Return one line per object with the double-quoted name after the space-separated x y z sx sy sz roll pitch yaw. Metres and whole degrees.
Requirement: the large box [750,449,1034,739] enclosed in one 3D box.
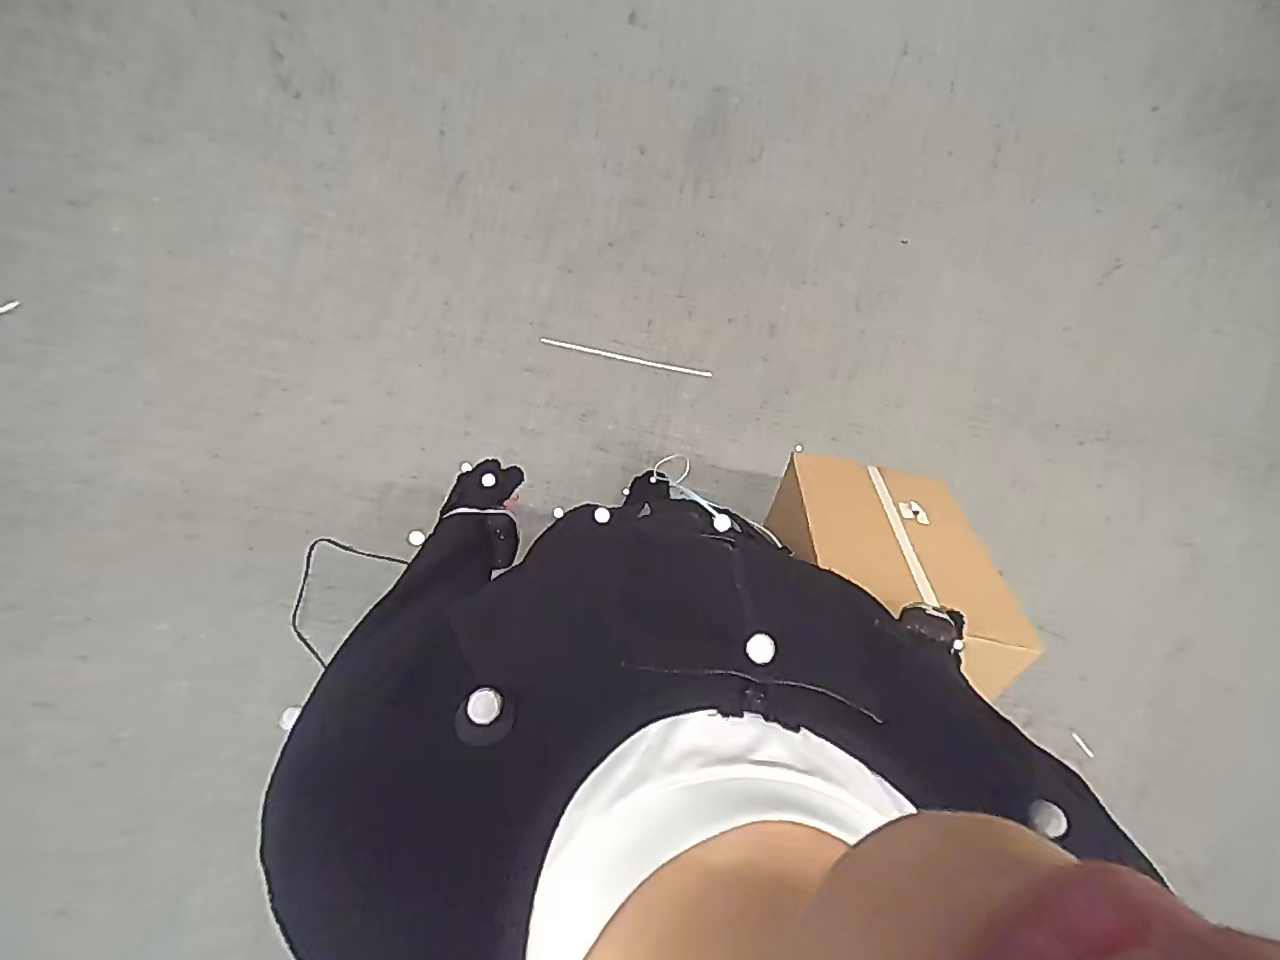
0.408 0.200 1.011 0.320 0.408 0.320 12 127 -2 "large box"
